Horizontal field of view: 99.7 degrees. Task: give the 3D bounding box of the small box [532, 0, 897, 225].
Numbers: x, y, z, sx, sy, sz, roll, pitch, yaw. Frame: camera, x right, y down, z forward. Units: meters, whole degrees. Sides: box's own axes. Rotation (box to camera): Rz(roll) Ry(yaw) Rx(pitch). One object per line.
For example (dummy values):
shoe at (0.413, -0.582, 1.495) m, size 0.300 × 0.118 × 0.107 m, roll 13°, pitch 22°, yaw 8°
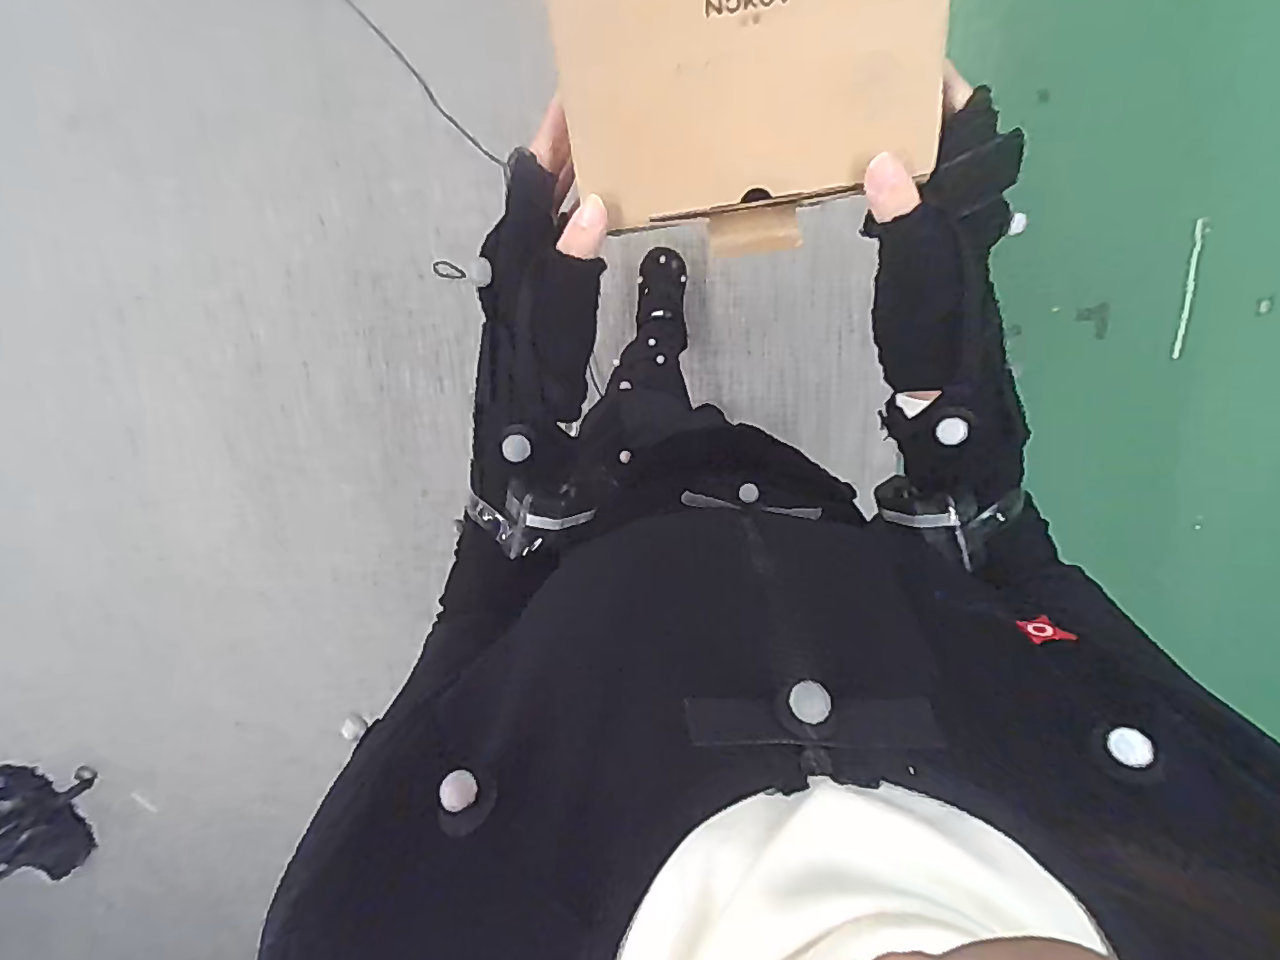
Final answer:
small box at (0.035, -0.258, 0.315) m, size 0.168 × 0.176 × 0.179 m, roll -9°, pitch 114°, yaw 5°
